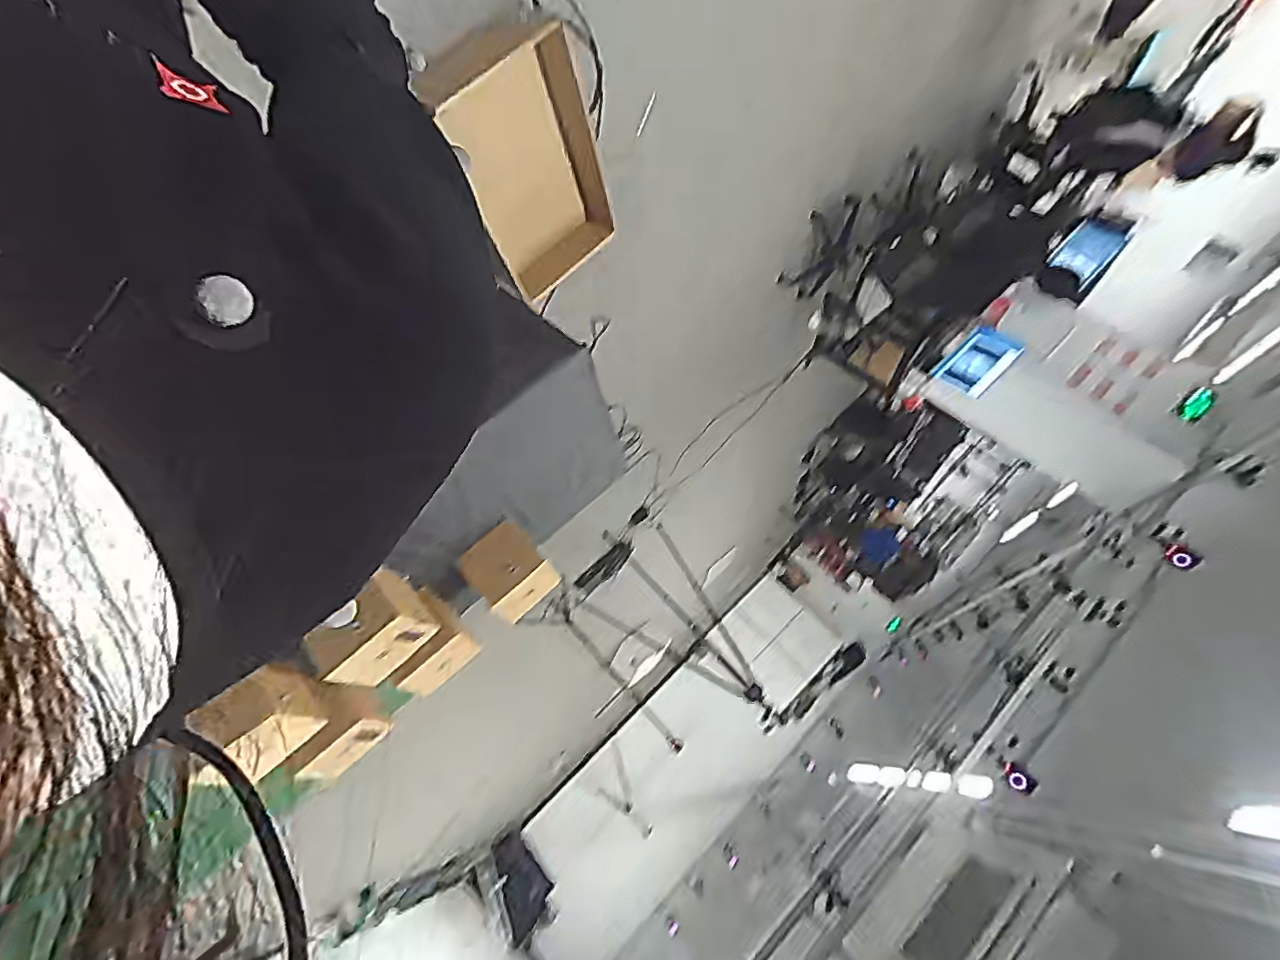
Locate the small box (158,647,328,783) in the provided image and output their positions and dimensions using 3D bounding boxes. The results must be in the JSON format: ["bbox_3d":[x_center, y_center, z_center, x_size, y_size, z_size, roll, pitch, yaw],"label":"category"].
[{"bbox_3d":[-0.753,0.447,1.035,0.168,0.176,0.179,-41,156,-17],"label":"small box"}]

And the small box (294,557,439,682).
[{"bbox_3d":[-0.562,0.287,1.116,0.179,0.176,0.168,-43,157,-11],"label":"small box"}]
